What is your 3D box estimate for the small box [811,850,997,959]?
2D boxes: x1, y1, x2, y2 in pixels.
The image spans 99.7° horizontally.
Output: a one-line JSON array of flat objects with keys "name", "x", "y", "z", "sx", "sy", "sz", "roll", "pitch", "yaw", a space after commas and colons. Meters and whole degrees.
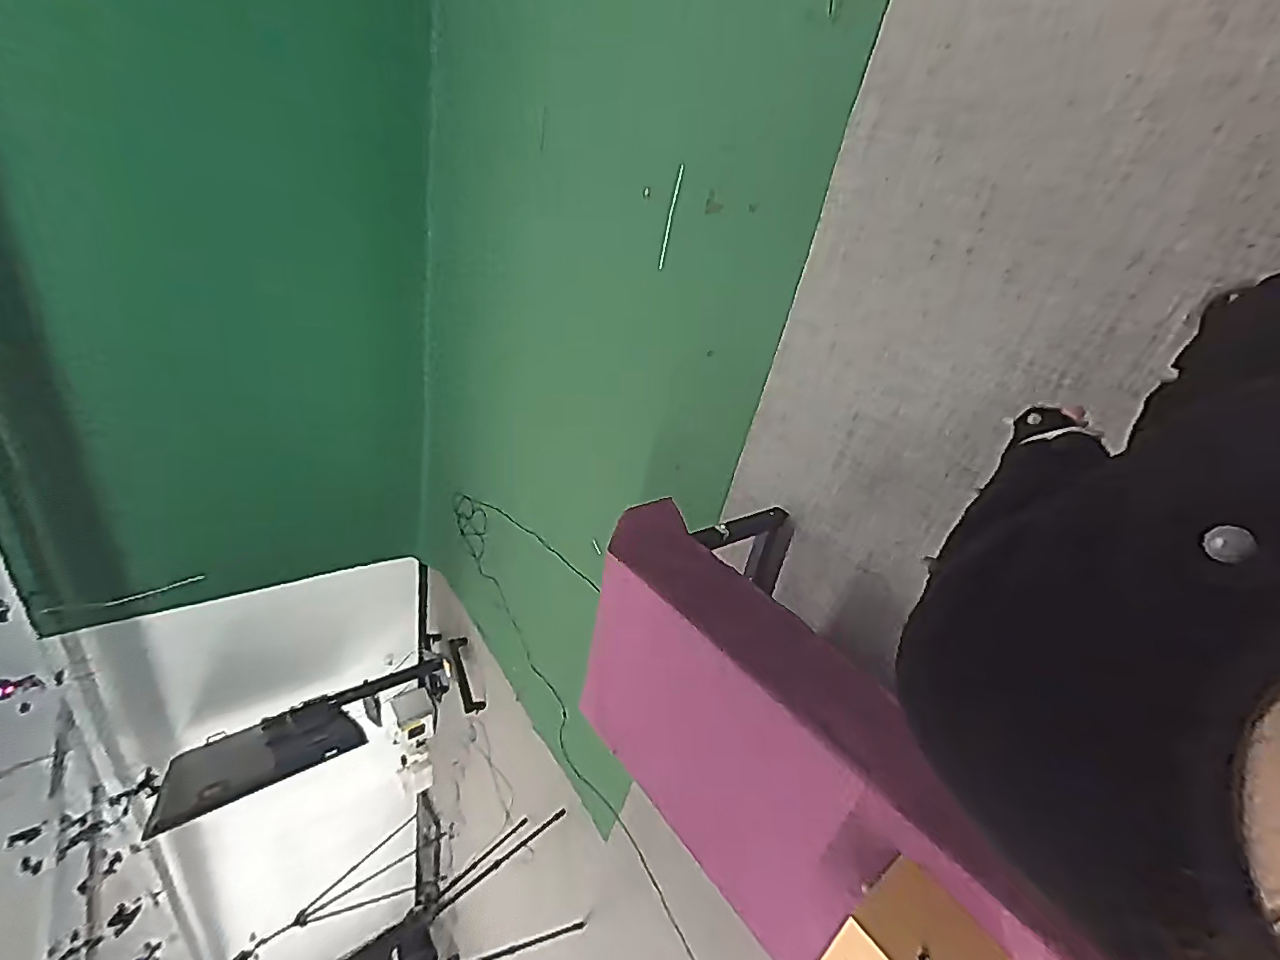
[{"name": "small box", "x": 0.406, "y": 0.732, "z": 0.834, "sx": 0.179, "sy": 0.176, "sz": 0.168, "roll": 37, "pitch": 126, "yaw": 41}]
